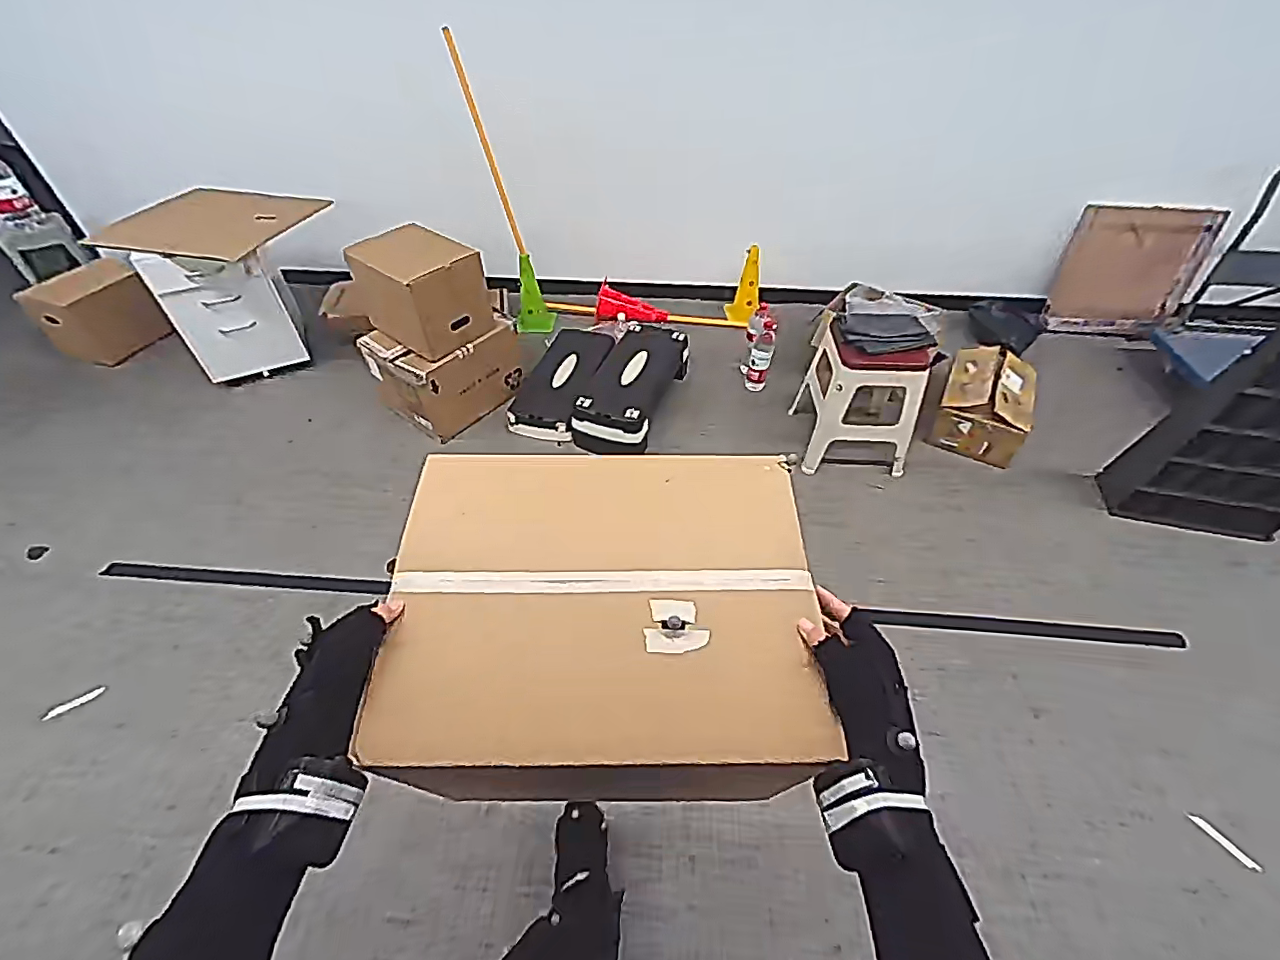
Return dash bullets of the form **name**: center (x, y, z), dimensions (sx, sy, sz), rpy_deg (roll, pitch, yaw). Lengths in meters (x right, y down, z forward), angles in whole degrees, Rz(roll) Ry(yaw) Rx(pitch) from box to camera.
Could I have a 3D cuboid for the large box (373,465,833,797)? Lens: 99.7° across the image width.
- **large box**: center (-0.037, 0.193, 0.666), dimensions (0.408, 0.320, 0.320), rpy_deg (0, 55, -1)
